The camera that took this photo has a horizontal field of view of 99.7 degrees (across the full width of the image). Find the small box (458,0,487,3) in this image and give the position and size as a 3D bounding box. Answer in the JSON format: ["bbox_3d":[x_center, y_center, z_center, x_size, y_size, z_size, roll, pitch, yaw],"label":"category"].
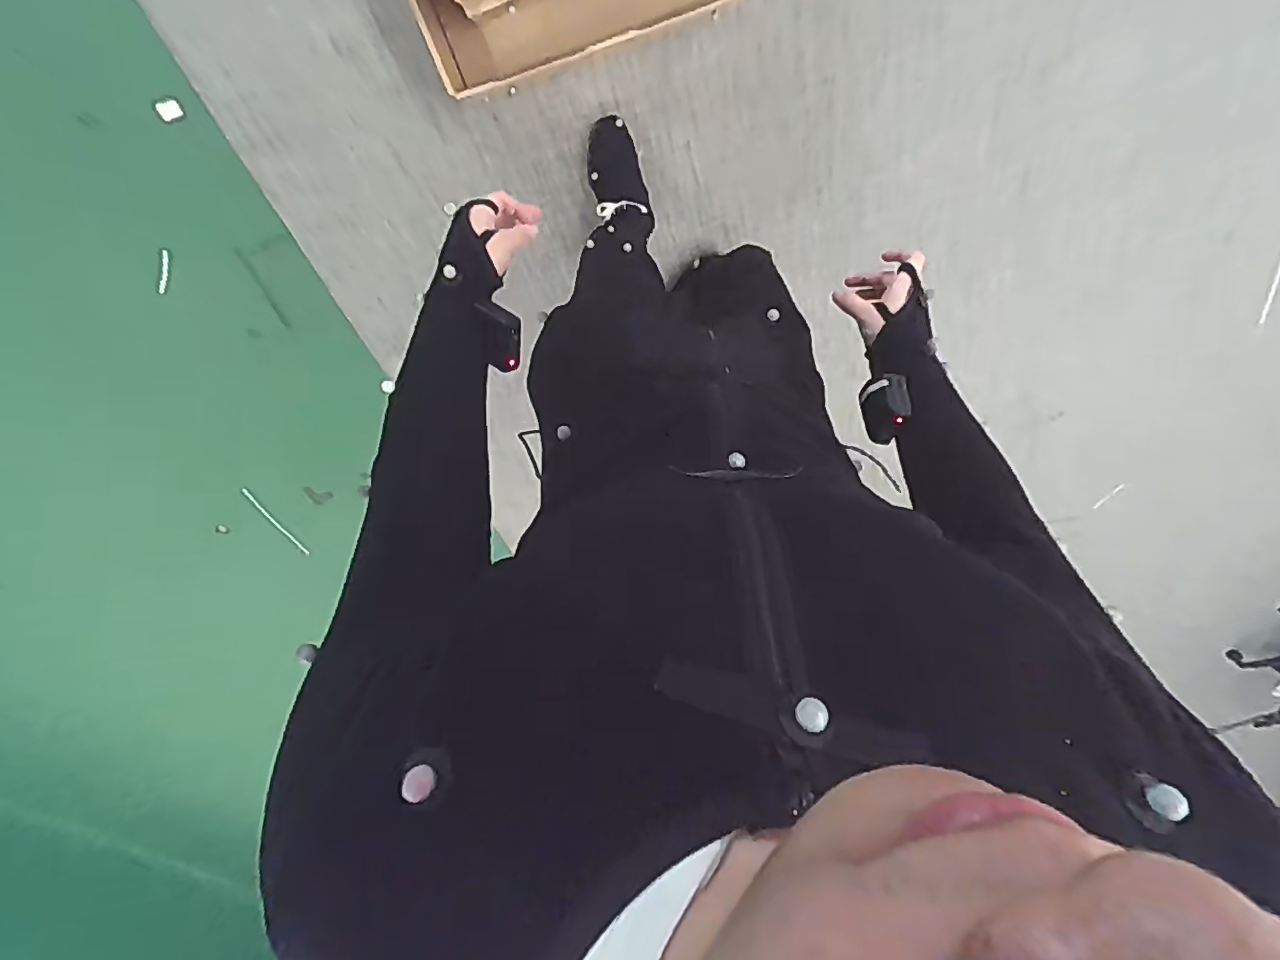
[{"bbox_3d":[-0.227,-0.839,0.792,0.168,0.176,0.179,-19,127,8],"label":"small box"}]
